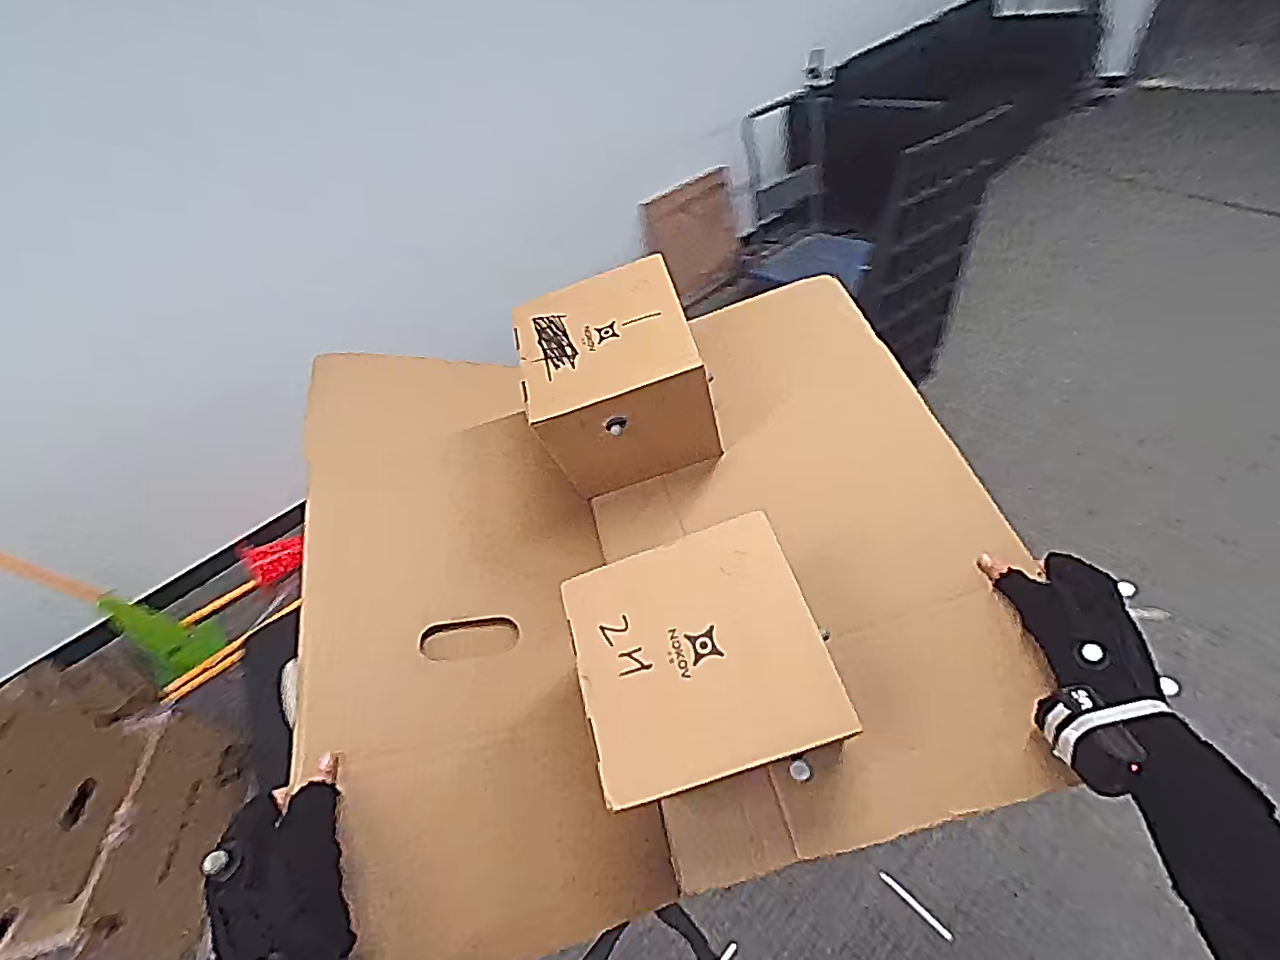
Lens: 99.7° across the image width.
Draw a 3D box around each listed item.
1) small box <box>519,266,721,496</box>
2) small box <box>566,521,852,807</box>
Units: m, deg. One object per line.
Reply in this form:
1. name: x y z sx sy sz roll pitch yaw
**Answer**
1. small box: -0.018 -0.102 0.623 0.179 0.176 0.168 -18 60 6
2. small box: 0.058 0.161 0.464 0.179 0.176 0.168 -20 59 7
